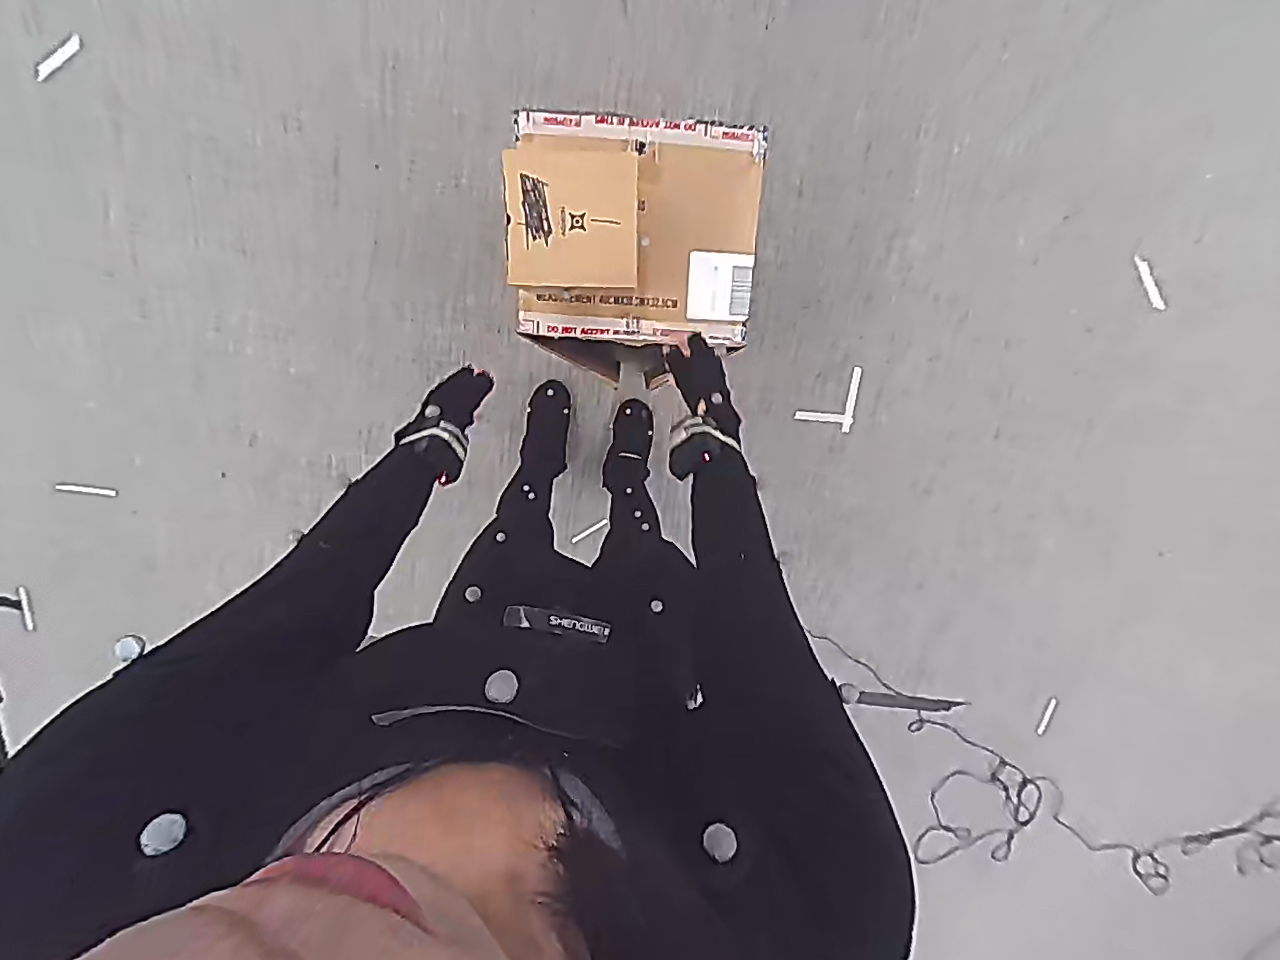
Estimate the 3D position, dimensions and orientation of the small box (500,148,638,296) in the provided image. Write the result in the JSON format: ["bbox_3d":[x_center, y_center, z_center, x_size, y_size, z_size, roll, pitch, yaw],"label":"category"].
[{"bbox_3d":[-0.093,-0.359,0.782,0.179,0.176,0.168,1,105,-1],"label":"small box"}]
